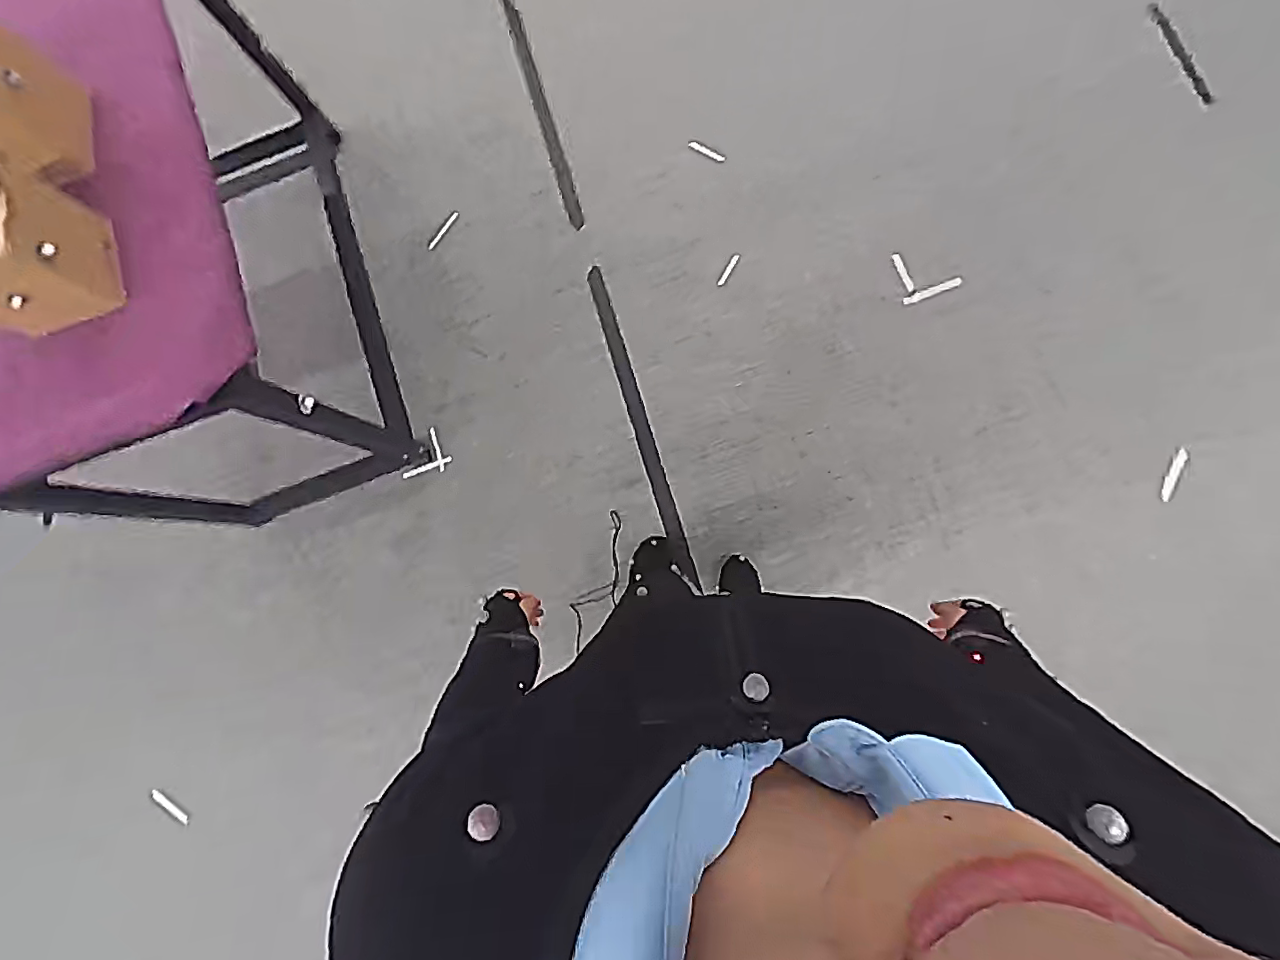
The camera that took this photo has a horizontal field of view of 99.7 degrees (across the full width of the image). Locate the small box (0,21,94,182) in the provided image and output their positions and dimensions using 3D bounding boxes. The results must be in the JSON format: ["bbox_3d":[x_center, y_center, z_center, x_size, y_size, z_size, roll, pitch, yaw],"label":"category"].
[{"bbox_3d":[-1.064,-0.628,0.896,0.168,0.176,0.179,-11,81,3],"label":"small box"}]
